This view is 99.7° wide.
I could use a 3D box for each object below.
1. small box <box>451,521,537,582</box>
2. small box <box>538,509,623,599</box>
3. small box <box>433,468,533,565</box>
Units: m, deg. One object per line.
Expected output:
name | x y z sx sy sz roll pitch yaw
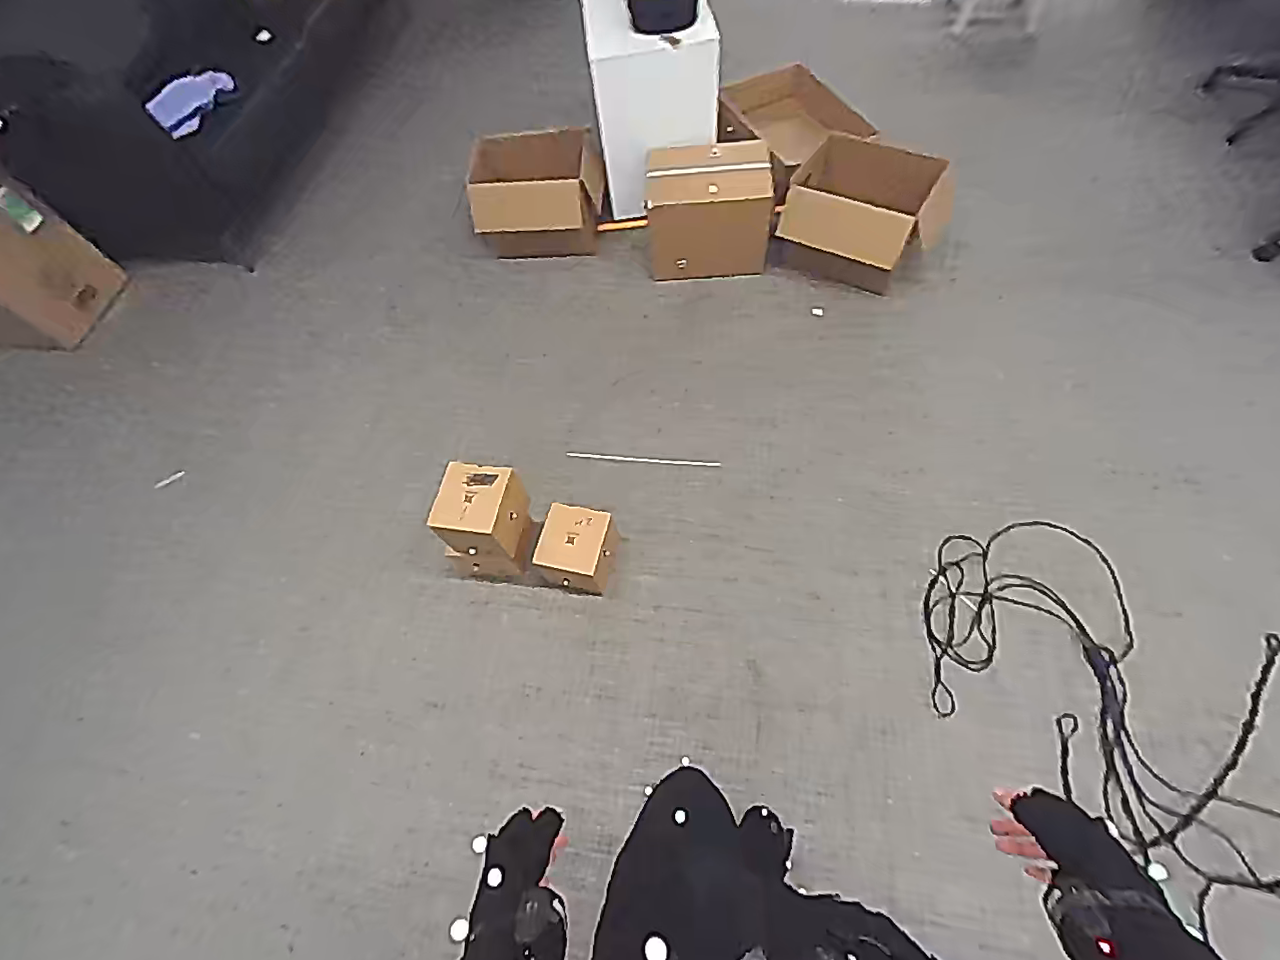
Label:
small box | -0.393 0.176 1.489 0.168 0.176 0.179 0 61 7
small box | -0.150 0.202 1.442 0.168 0.176 0.179 10 63 12
small box | -0.378 0.094 1.344 0.168 0.176 0.179 6 63 10
